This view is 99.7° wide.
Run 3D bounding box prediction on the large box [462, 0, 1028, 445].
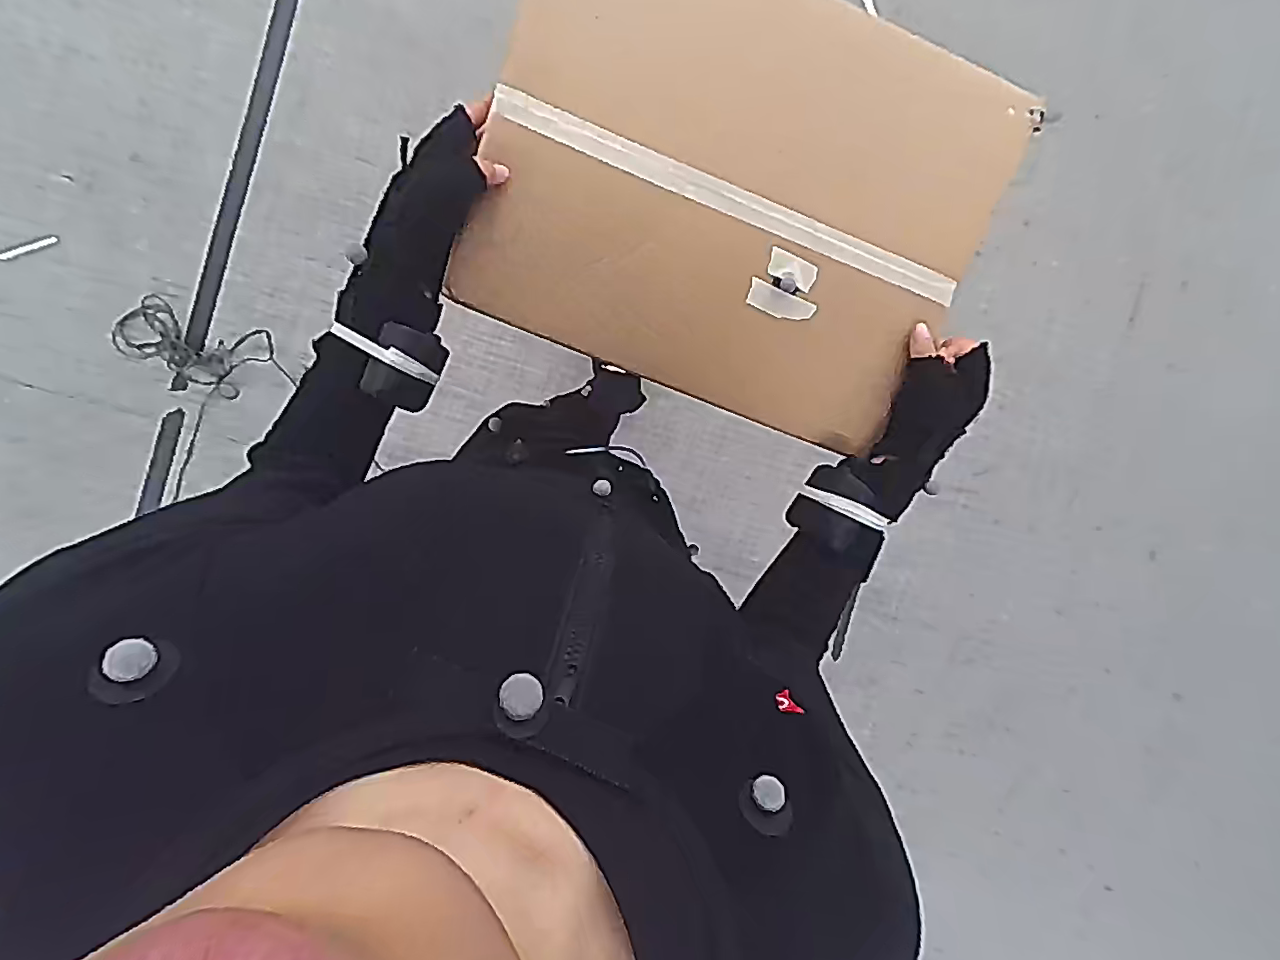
[{"bbox_3d":[0.076,-0.272,0.597,0.408,0.320,0.320,20,104,-7],"label":"large box"}]
